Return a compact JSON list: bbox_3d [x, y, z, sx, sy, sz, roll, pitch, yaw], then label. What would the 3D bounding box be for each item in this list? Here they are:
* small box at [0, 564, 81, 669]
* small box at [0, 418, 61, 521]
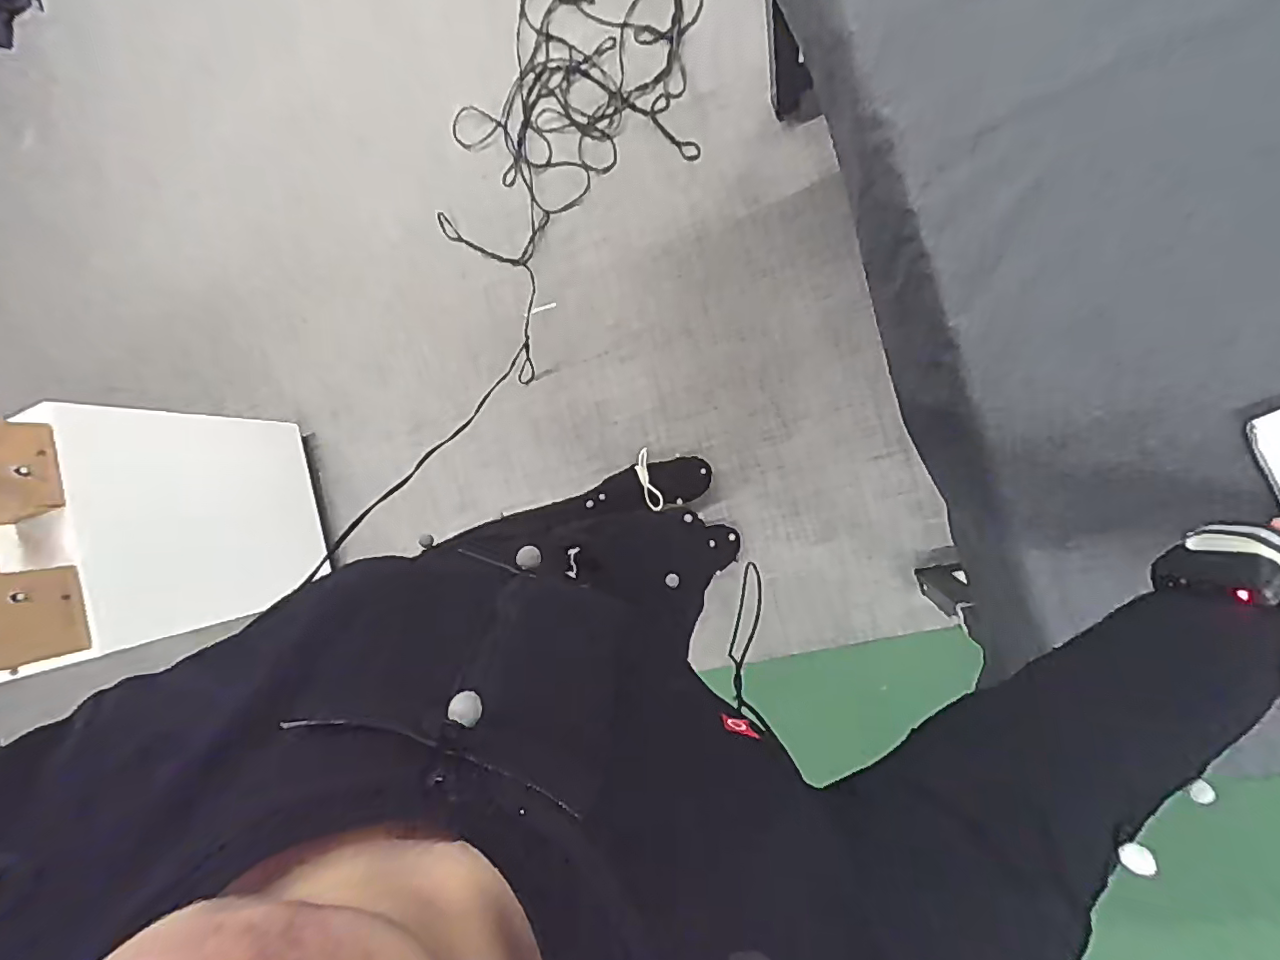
[{"bbox_3d":[-1.155,0.255,0.967,0.179,0.176,0.168,-14,85,17],"label":"small box"},{"bbox_3d":[-1.219,-0.014,0.980,0.179,0.176,0.168,-14,87,16],"label":"small box"}]
